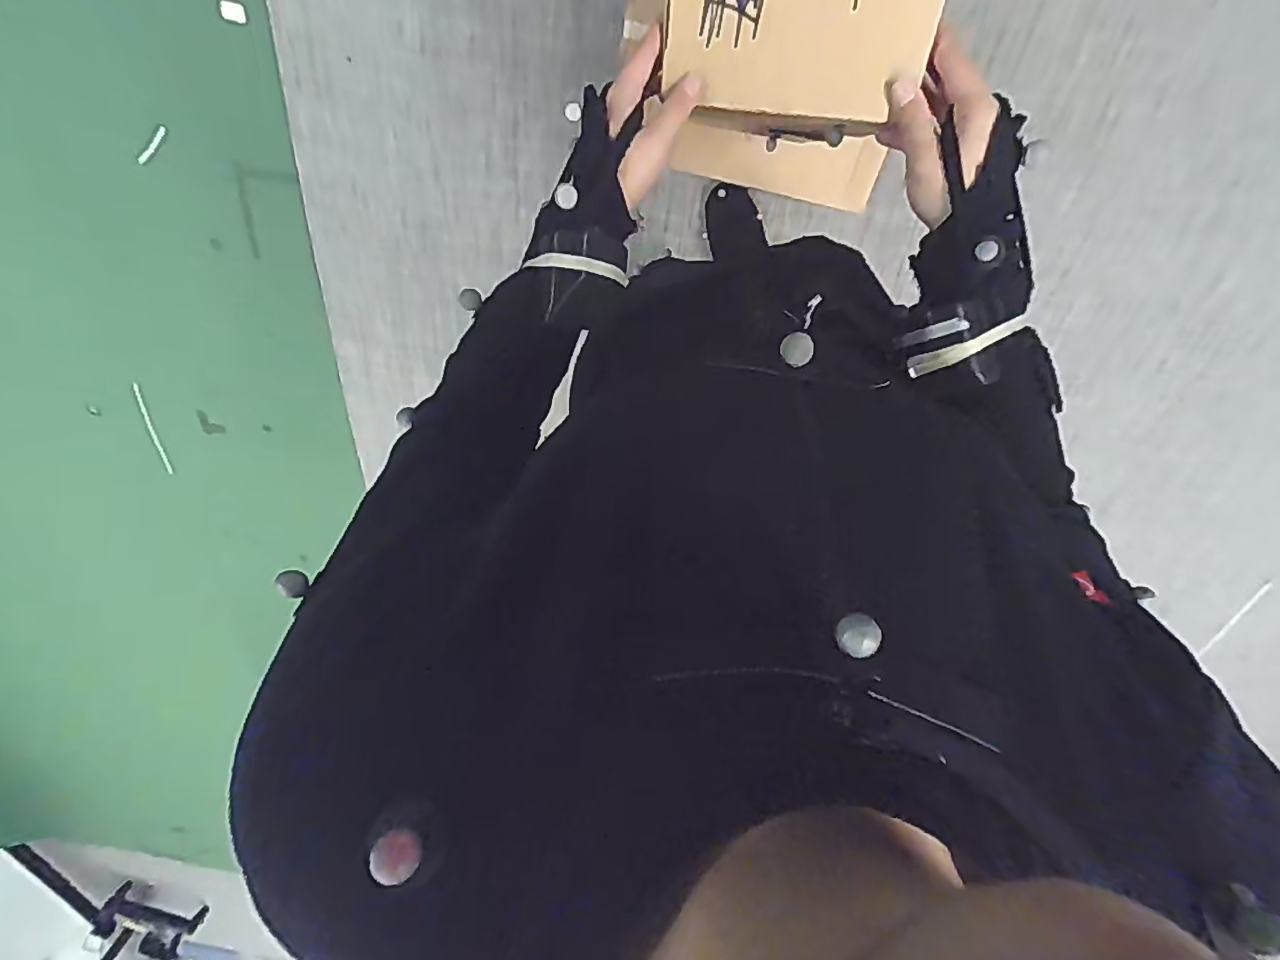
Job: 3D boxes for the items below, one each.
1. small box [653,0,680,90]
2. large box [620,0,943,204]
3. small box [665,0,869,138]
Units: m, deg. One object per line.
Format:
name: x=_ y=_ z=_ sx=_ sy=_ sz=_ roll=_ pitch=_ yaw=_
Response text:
small box: x=0.130 y=-0.557 z=0.679 sx=0.179 sy=0.176 sz=0.168 roll=18 pitch=122 yaw=-4
large box: x=0.202 y=-0.672 z=0.884 sx=0.408 sy=0.320 sz=0.320 roll=13 pitch=123 yaw=-1
small box: x=0.126 y=-0.461 z=0.546 sx=0.168 sy=0.176 sz=0.179 roll=10 pitch=121 yaw=0
